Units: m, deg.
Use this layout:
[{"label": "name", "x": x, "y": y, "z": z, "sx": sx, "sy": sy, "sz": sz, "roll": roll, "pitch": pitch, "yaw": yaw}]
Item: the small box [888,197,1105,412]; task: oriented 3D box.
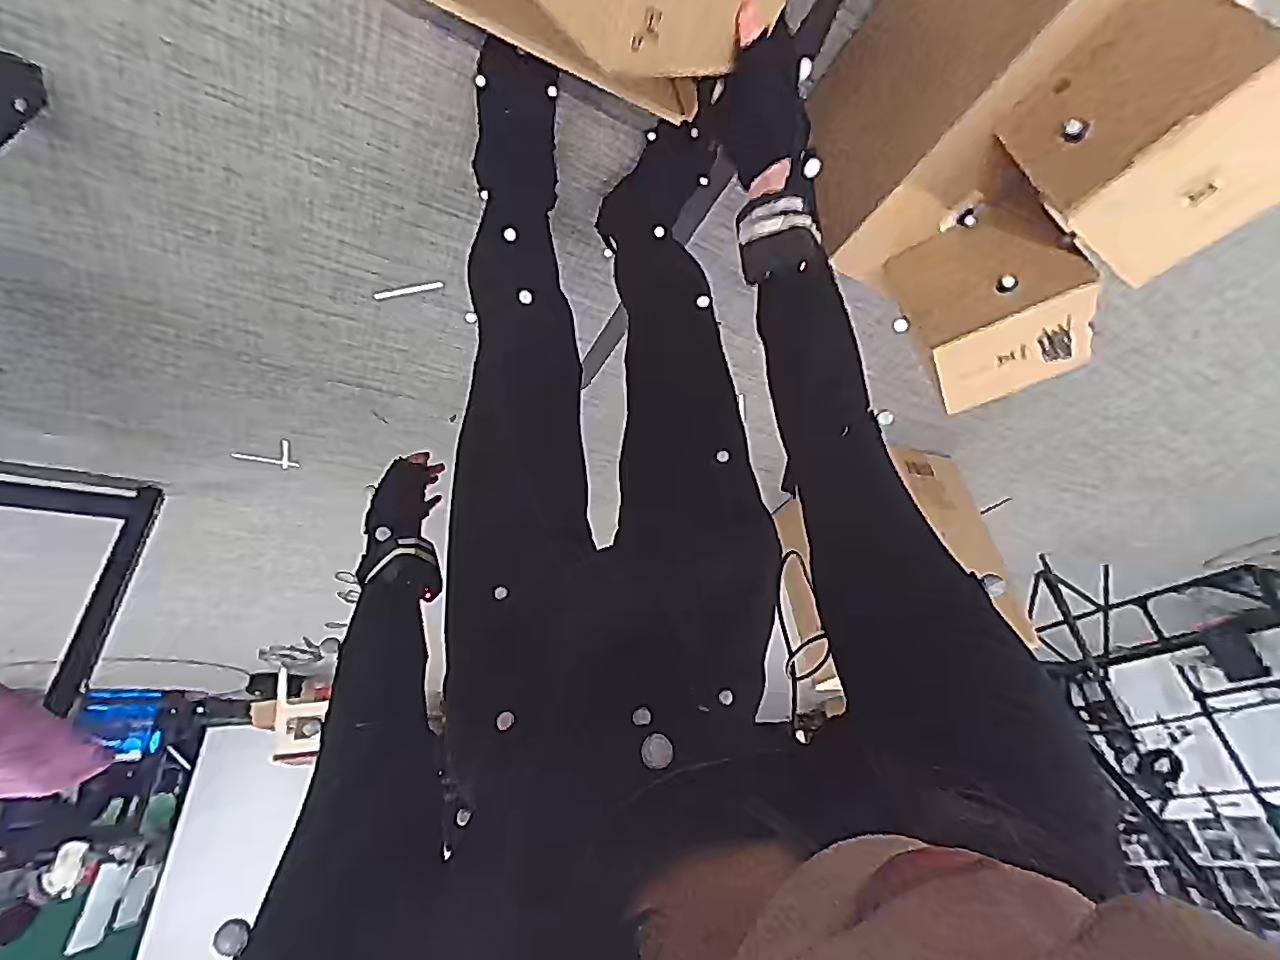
[{"label": "small box", "x": 0.455, "y": -0.226, "z": 0.710, "sx": 0.179, "sy": 0.176, "sz": 0.168, "roll": -22, "pitch": 145, "yaw": 25}]

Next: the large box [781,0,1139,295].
[{"label": "large box", "x": 0.465, "y": -0.499, "z": 0.738, "sx": 0.320, "sy": 0.320, "sz": 0.408, "roll": 12, "pitch": 145, "yaw": -26}]

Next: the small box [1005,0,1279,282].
[{"label": "small box", "x": 0.510, "y": -0.342, "z": 0.536, "sx": 0.179, "sy": 0.176, "sz": 0.168, "roll": 13, "pitch": 146, "yaw": -30}]

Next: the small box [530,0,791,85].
[{"label": "small box", "x": 0.015, "y": -0.404, "z": 0.361, "sx": 0.179, "sy": 0.176, "sz": 0.168, "roll": -32, "pitch": 168, "yaw": -34}]
